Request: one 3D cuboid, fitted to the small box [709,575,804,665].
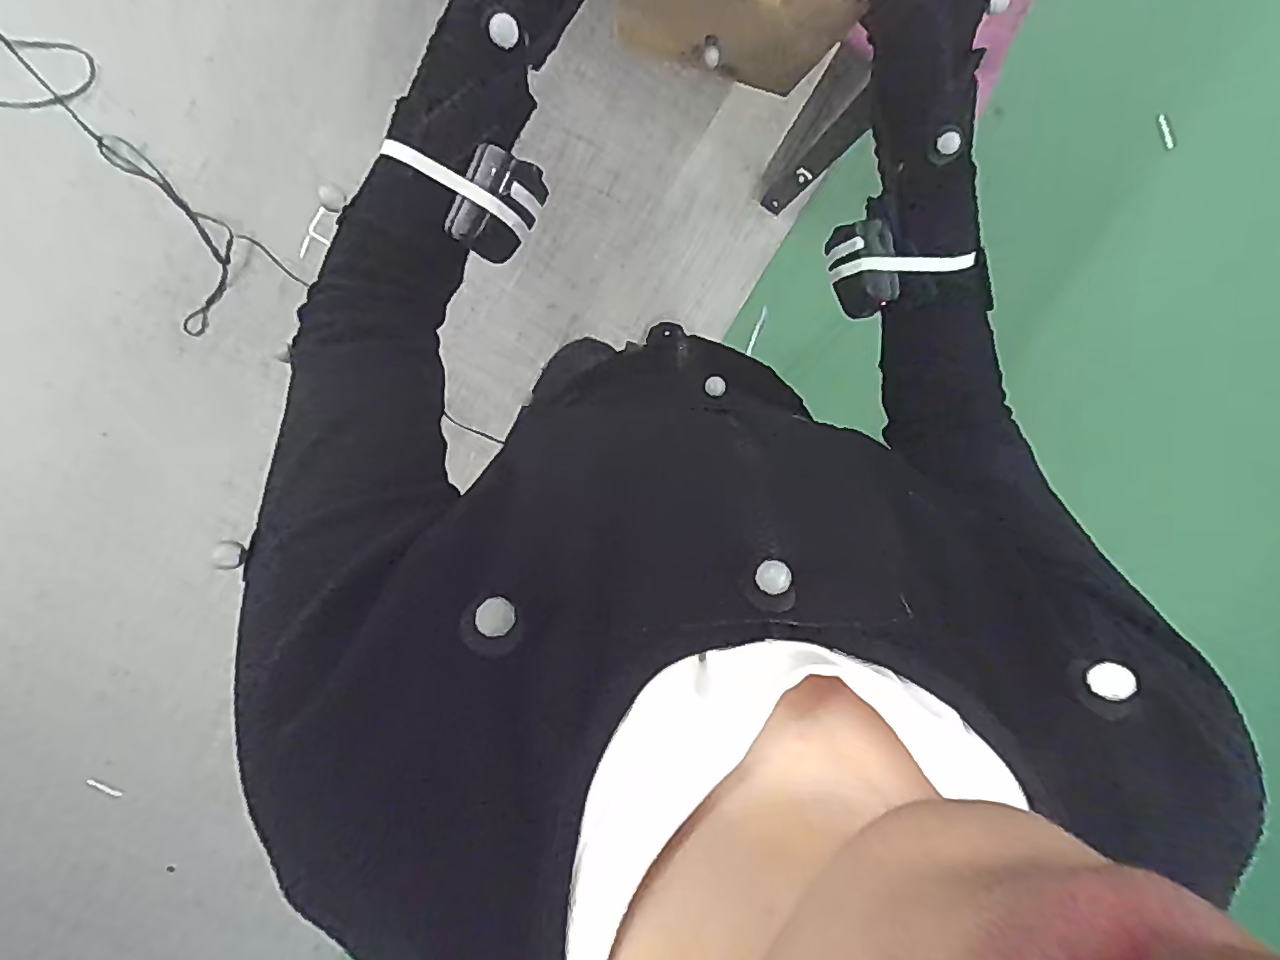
[{"bbox_3d":[0.315,0.392,1.499,0.179,0.176,0.168,34,99,-9],"label":"small box"}]

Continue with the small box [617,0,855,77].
[{"bbox_3d":[0.078,-0.431,0.377,0.168,0.176,0.179,11,108,-8],"label":"small box"}]

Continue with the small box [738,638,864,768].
[{"bbox_3d":[0.339,0.474,1.181,0.179,0.176,0.168,33,100,-10],"label":"small box"}]
